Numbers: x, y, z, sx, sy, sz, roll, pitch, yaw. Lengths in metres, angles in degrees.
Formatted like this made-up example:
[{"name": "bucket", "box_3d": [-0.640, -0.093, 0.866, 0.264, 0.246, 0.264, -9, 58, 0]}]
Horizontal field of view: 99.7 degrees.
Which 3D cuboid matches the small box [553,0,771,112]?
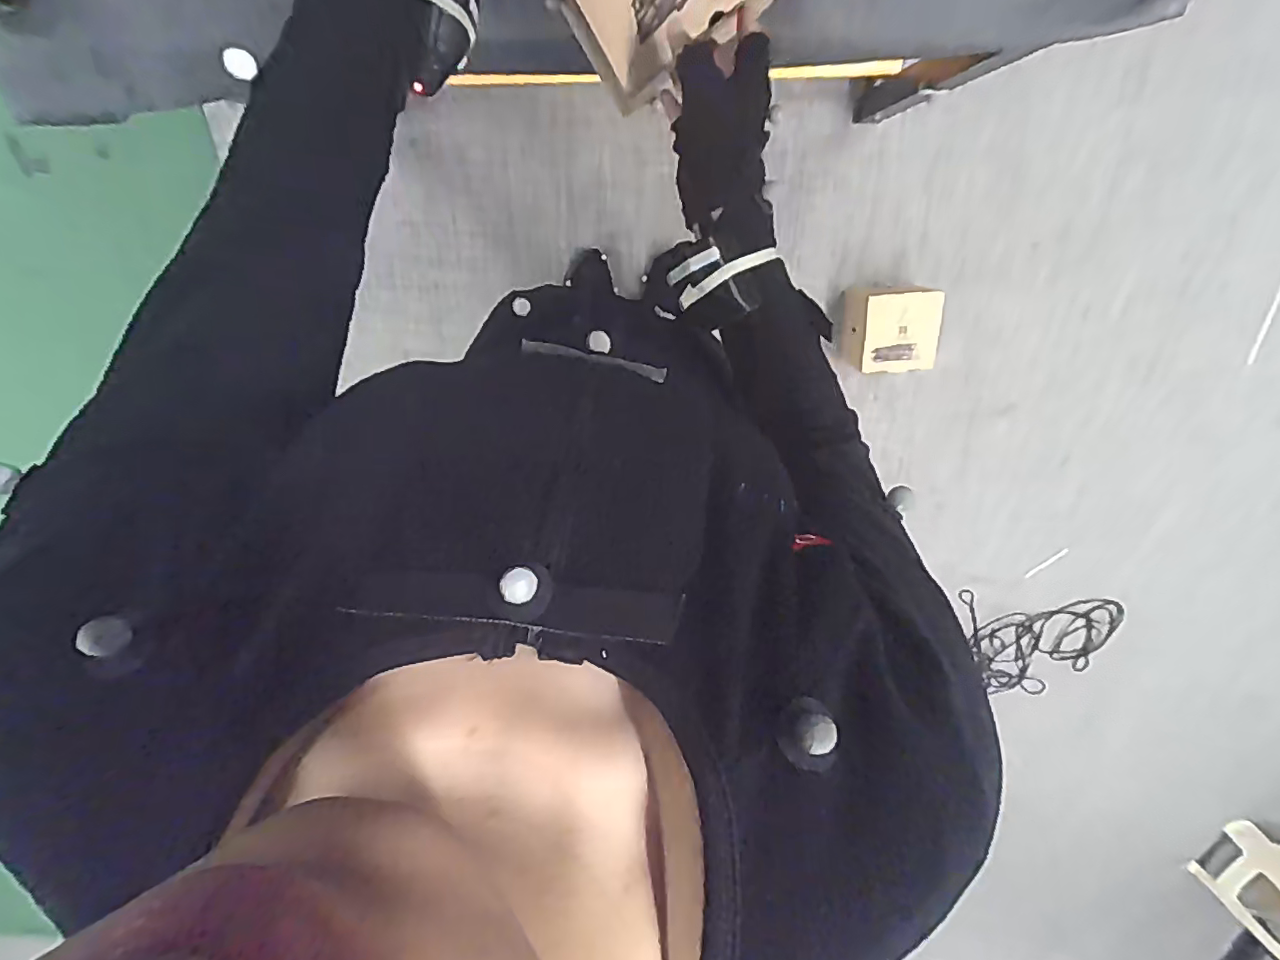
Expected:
[{"name": "small box", "box_3d": [0.006, -0.433, 0.438, 0.168, 0.176, 0.179, -30, 115, 13]}]
